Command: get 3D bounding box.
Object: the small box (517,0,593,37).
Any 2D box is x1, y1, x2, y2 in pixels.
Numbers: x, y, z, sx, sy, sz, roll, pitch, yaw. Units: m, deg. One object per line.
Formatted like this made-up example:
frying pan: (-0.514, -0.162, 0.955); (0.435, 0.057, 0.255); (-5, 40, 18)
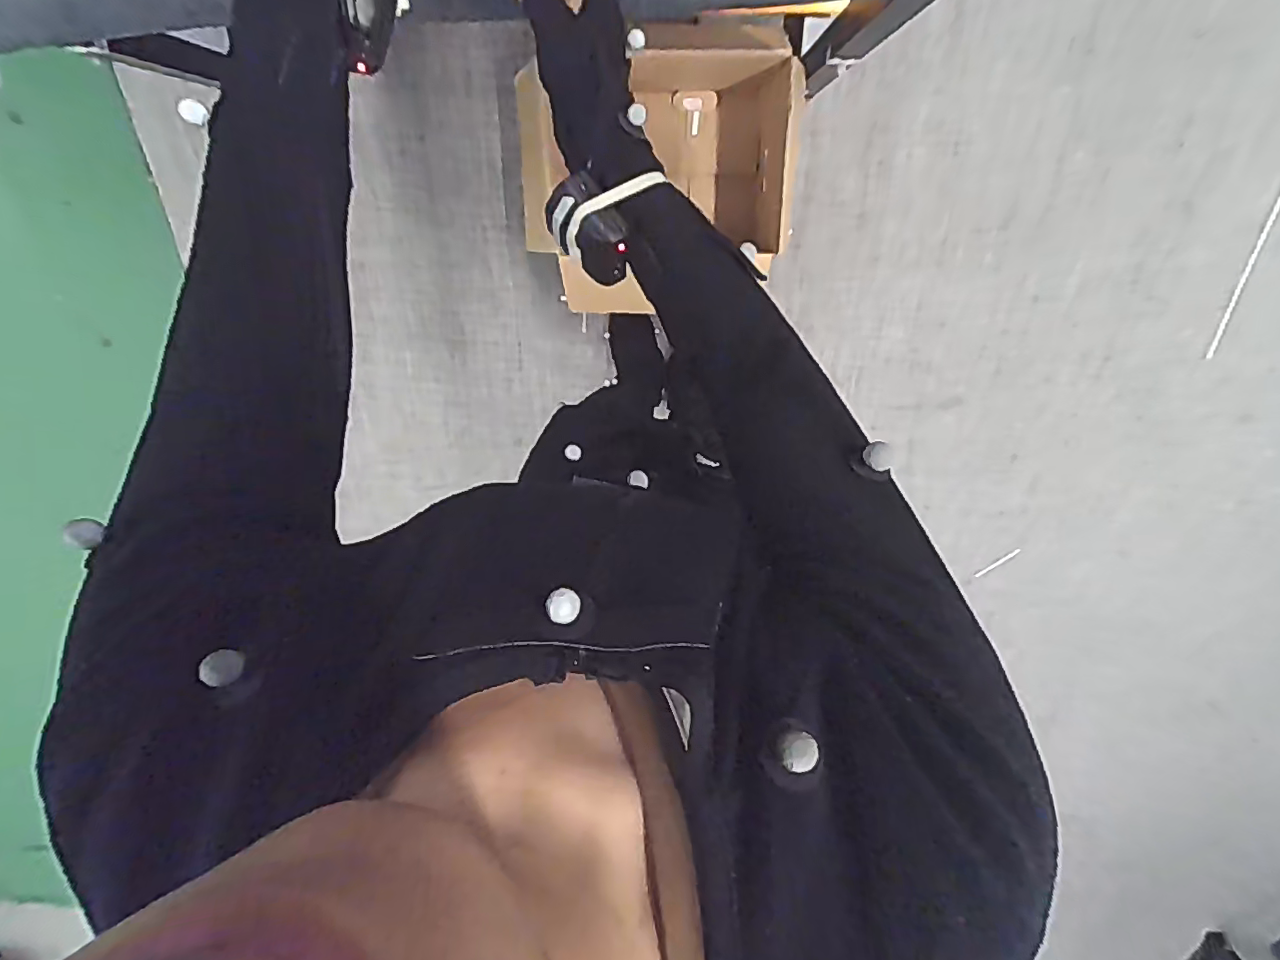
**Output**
small box: (-0.067, -0.481, 0.390); (0.179, 0.176, 0.168); (-36, 111, 16)
